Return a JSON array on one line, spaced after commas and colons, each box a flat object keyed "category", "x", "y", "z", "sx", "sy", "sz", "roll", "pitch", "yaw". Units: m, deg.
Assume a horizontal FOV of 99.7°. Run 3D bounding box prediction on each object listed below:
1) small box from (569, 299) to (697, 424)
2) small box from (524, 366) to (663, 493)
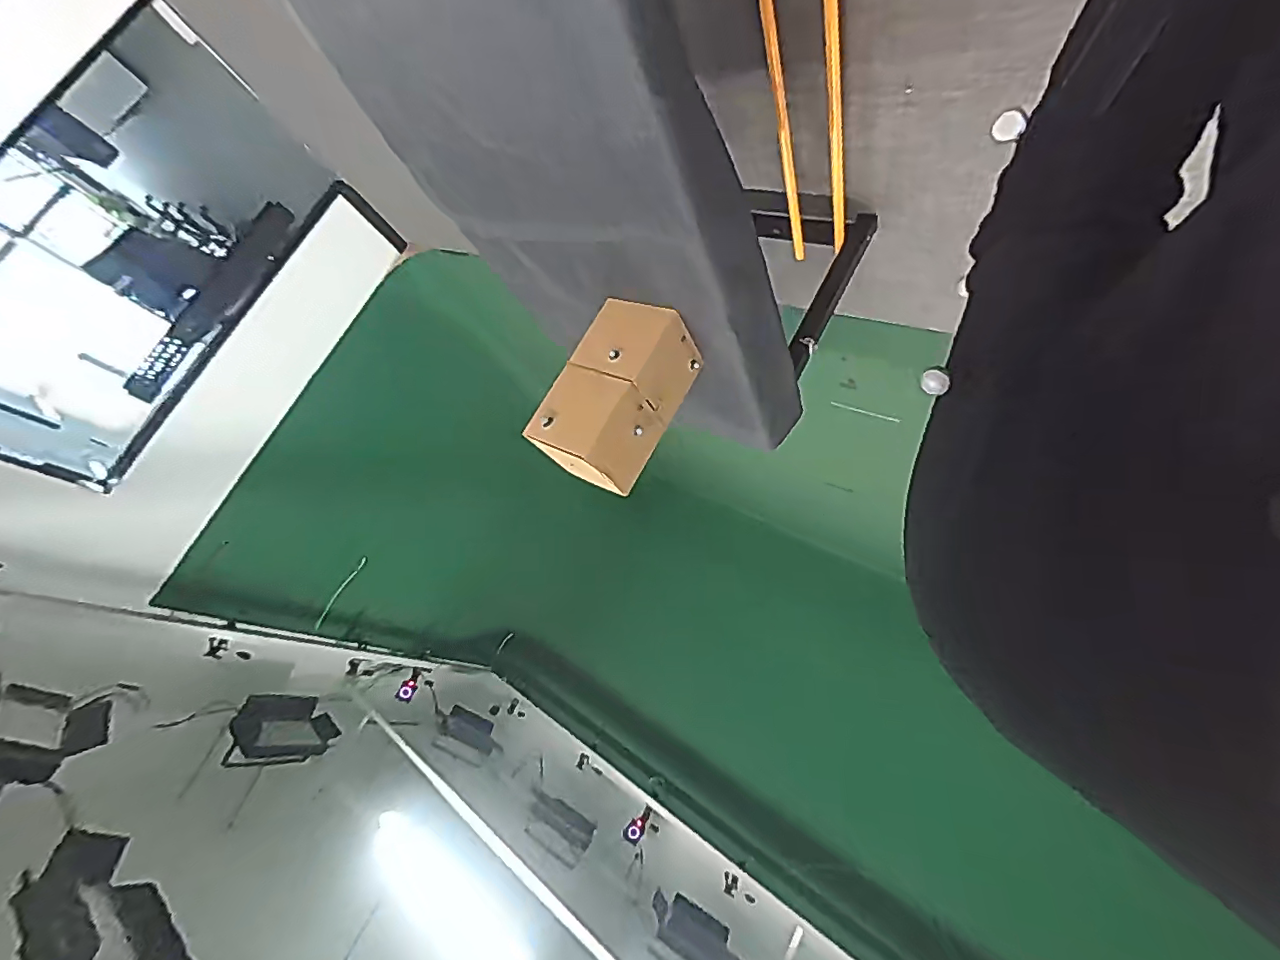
[{"category": "small box", "x": -0.004, "y": -0.244, "z": 1.098, "sx": 0.179, "sy": 0.176, "sz": 0.168, "roll": 24, "pitch": 167, "yaw": 34}, {"category": "small box", "x": -0.087, "y": -0.105, "z": 1.068, "sx": 0.179, "sy": 0.176, "sz": 0.168, "roll": 22, "pitch": 167, "yaw": 36}]
